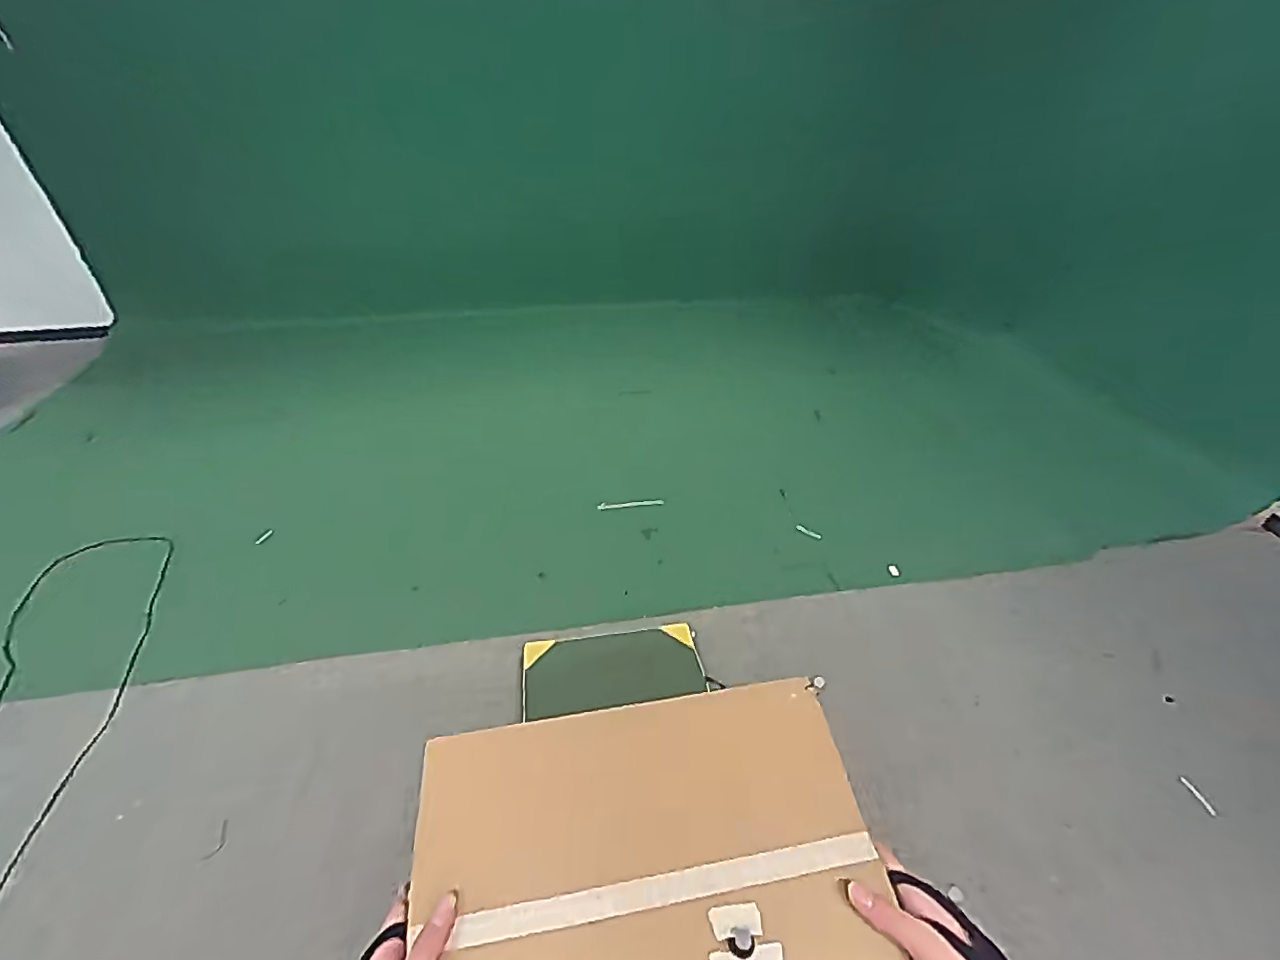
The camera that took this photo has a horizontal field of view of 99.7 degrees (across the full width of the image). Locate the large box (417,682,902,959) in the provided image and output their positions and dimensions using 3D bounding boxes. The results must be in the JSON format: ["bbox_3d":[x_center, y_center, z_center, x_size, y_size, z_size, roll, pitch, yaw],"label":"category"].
[{"bbox_3d":[0.006,0.462,0.587,0.408,0.320,0.320,-7,49,-7],"label":"large box"}]
